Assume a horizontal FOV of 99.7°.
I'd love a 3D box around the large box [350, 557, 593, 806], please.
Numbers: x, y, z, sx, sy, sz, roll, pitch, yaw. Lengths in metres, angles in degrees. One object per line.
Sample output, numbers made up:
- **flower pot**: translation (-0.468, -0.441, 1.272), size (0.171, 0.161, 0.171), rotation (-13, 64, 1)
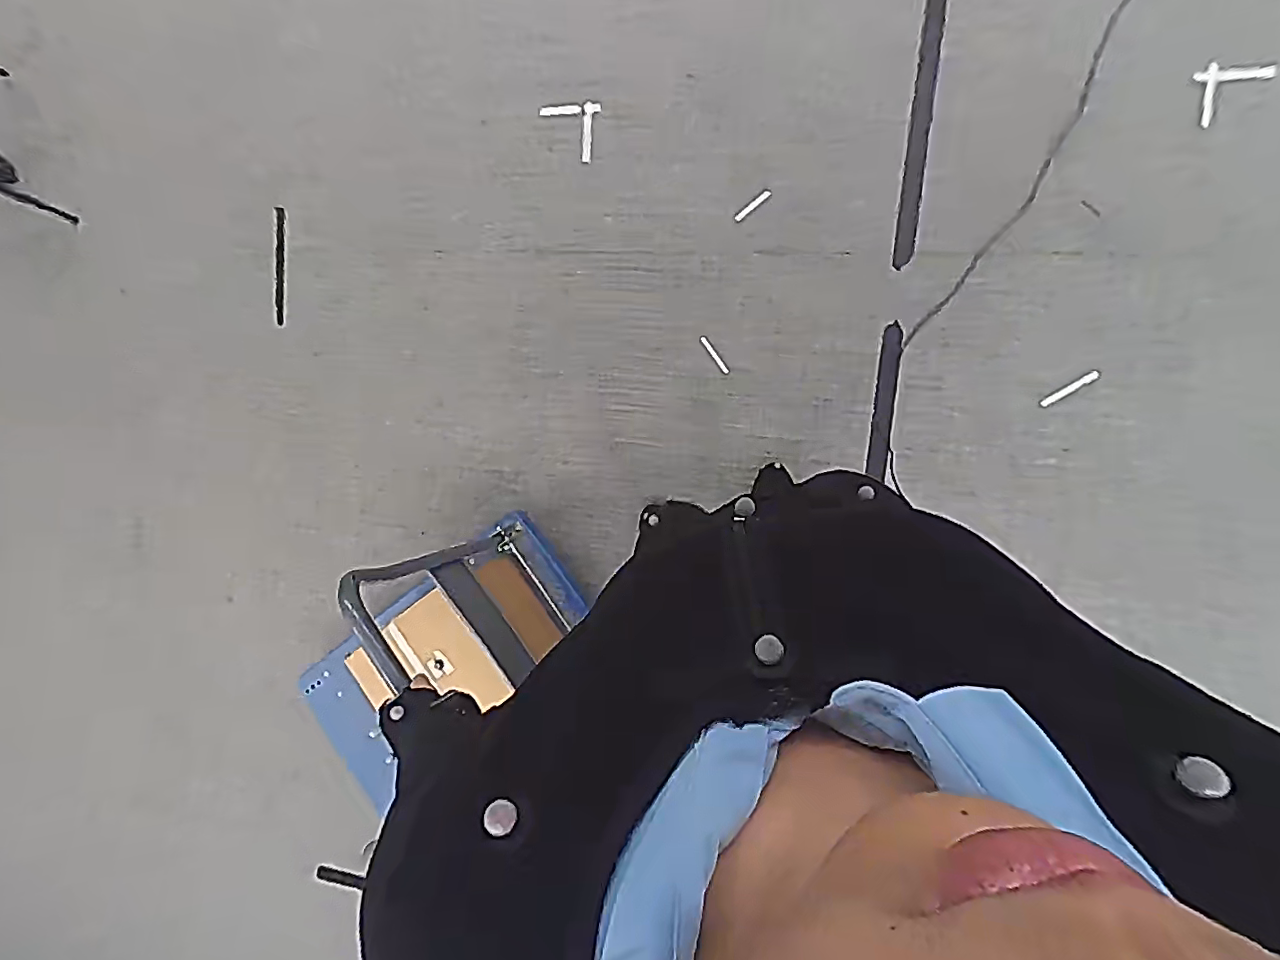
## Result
- **large box**: translation (-0.380, 0.454, 1.298), size (0.320, 0.320, 0.408), rotation (-37, 85, 10)
